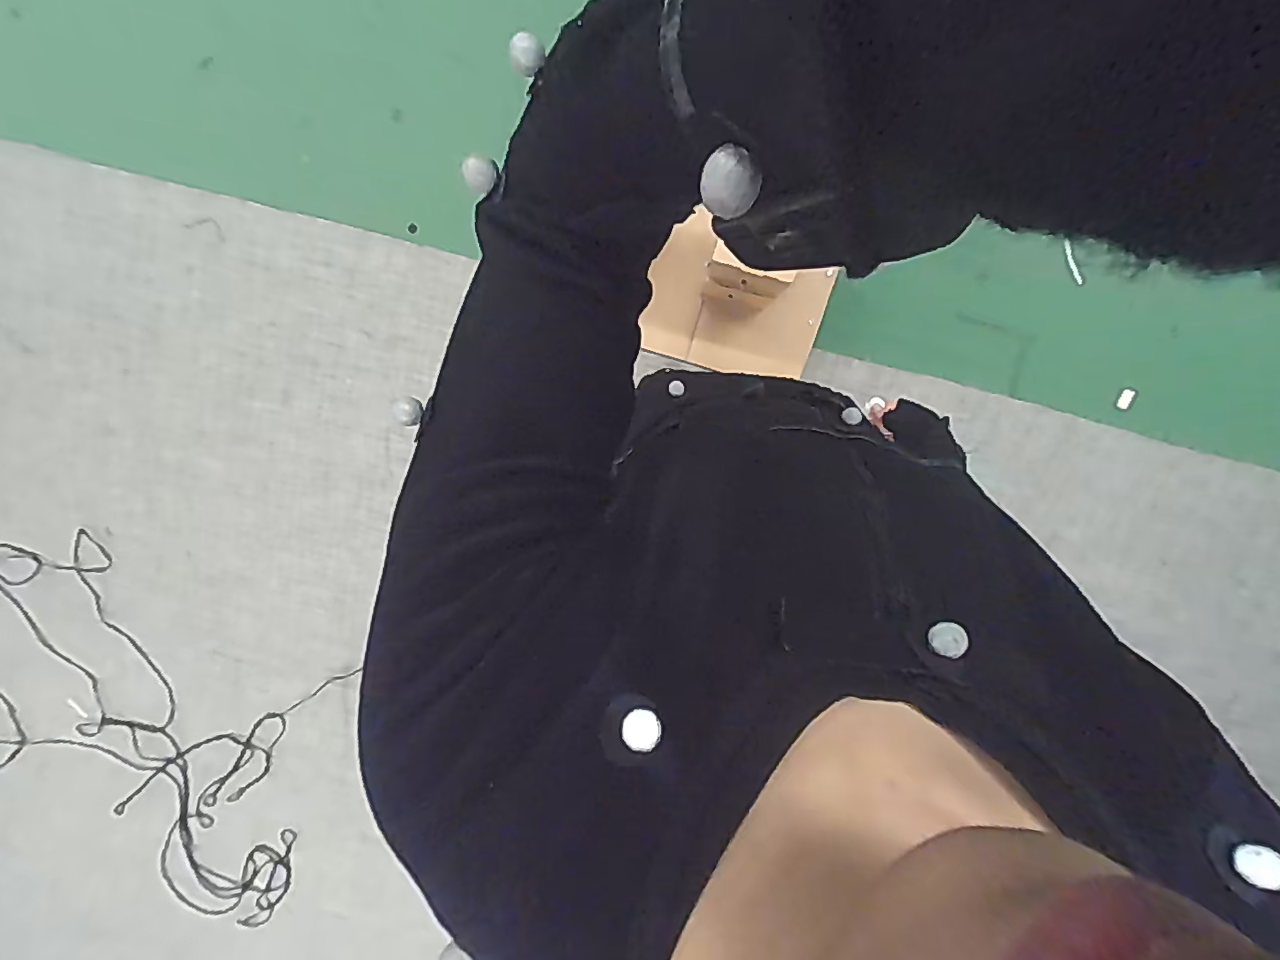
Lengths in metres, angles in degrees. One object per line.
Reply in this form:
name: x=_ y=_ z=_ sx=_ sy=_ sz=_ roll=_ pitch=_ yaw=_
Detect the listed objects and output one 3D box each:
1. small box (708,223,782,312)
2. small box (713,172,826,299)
small box: x=0.260 y=-0.506 z=1.265 sx=0.168 sy=0.176 sz=0.179 roll=15 pitch=102 yaw=1
small box: x=0.252 y=-0.485 z=1.100 sx=0.168 sy=0.176 sz=0.179 roll=17 pitch=102 yaw=1
